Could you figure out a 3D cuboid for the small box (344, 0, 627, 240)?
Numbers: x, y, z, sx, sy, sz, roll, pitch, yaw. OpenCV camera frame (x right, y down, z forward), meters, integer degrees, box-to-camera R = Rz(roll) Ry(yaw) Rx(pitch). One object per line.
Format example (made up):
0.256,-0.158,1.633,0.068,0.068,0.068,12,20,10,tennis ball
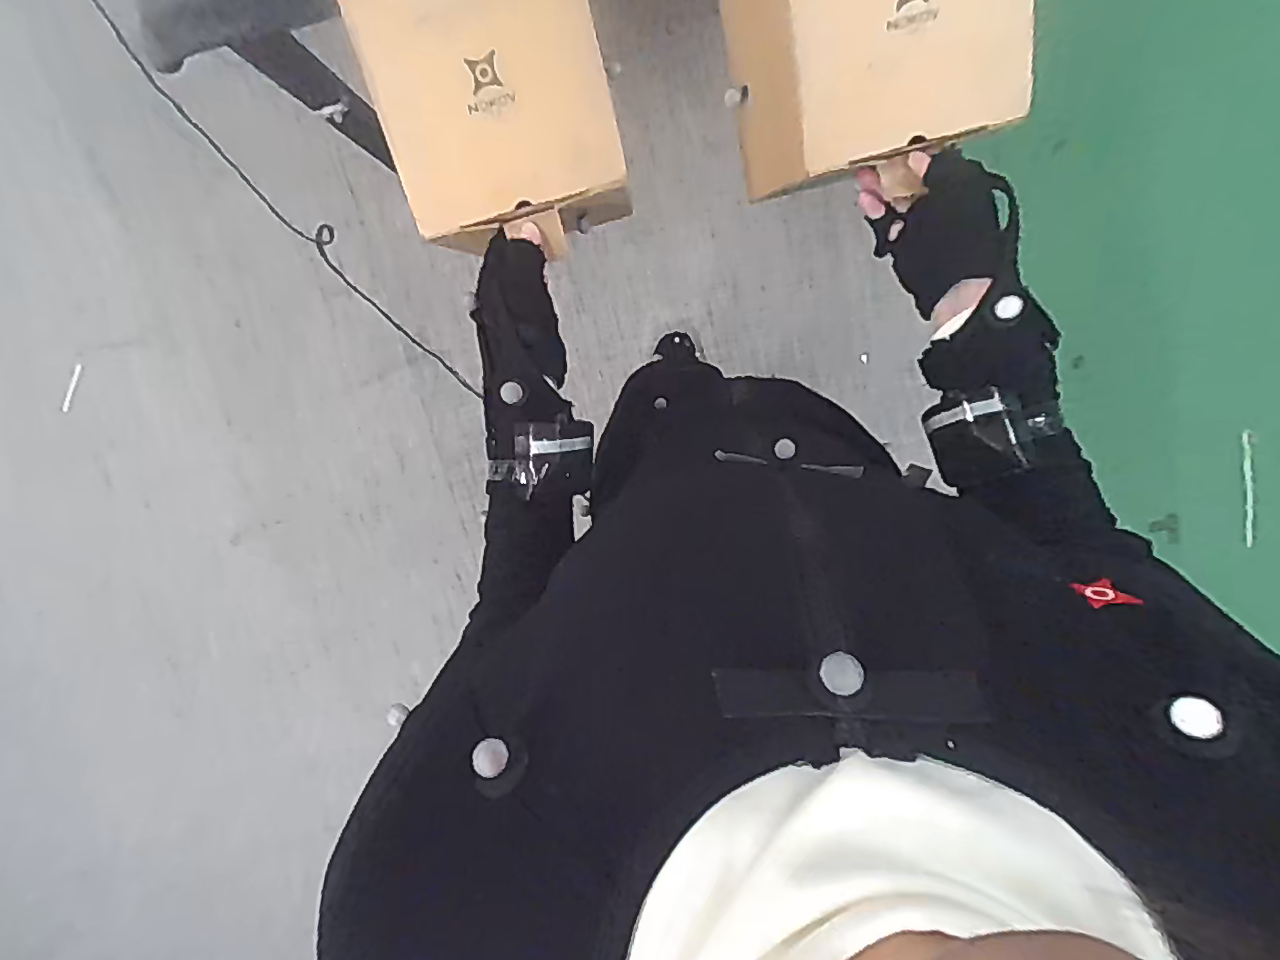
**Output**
-0.108,-0.315,0.455,0.168,0.176,0.179,-15,107,3,small box
